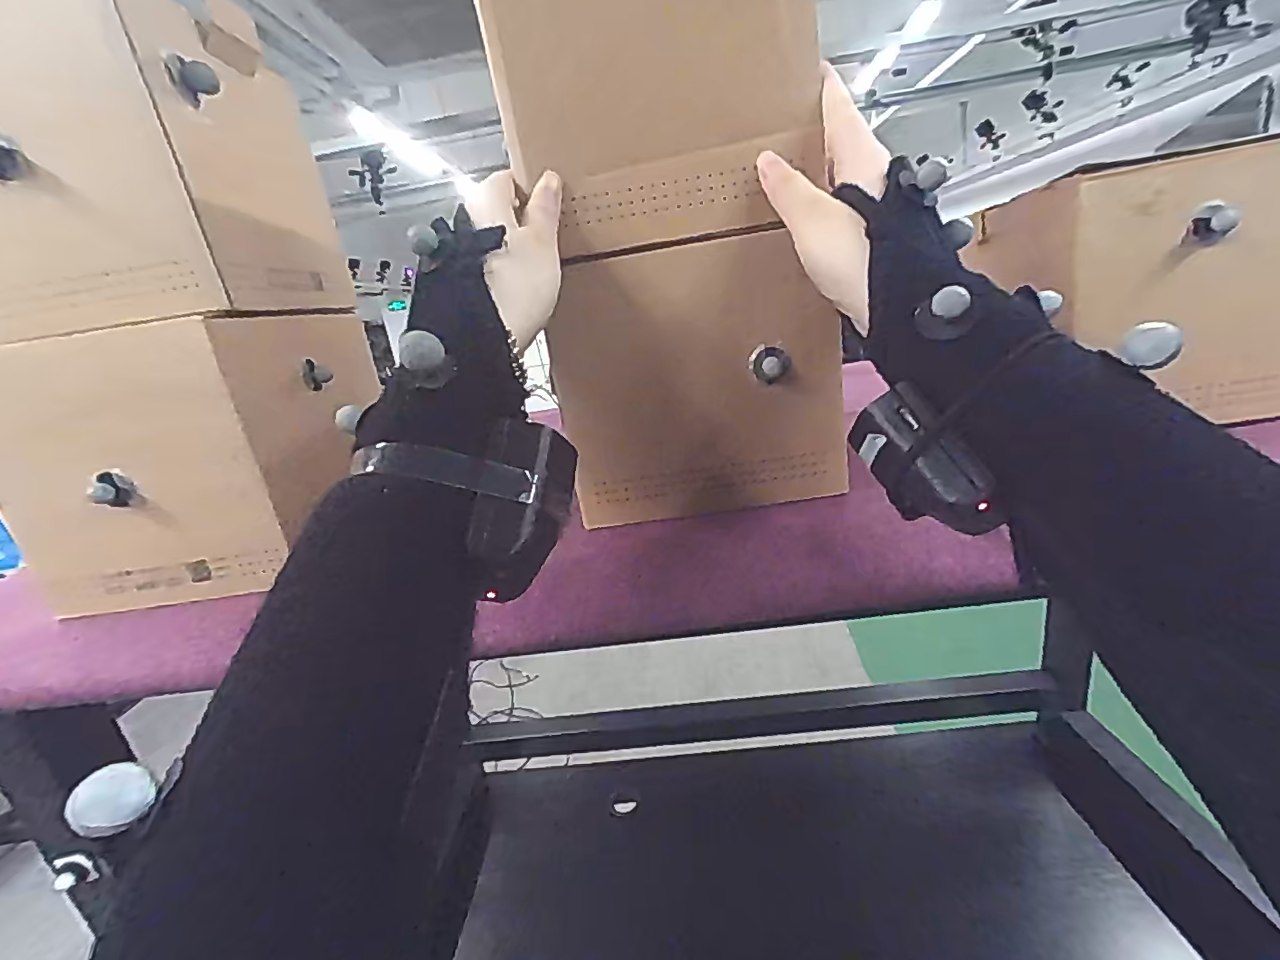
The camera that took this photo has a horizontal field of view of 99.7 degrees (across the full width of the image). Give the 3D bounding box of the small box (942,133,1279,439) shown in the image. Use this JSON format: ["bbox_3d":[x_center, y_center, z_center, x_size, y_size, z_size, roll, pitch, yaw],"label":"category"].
[{"bbox_3d":[0.357,-0.132,0.409,0.179,0.176,0.168,-8,15,6],"label":"small box"}]

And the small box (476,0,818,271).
[{"bbox_3d":[0.007,-0.231,0.366,0.179,0.176,0.168,-8,16,2],"label":"small box"}]

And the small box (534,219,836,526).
[{"bbox_3d":[0.038,-0.078,0.408,0.179,0.176,0.168,-9,14,4],"label":"small box"}]

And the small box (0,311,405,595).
[{"bbox_3d":[-0.300,-0.025,0.403,0.168,0.176,0.179,-7,17,2],"label":"small box"}]
